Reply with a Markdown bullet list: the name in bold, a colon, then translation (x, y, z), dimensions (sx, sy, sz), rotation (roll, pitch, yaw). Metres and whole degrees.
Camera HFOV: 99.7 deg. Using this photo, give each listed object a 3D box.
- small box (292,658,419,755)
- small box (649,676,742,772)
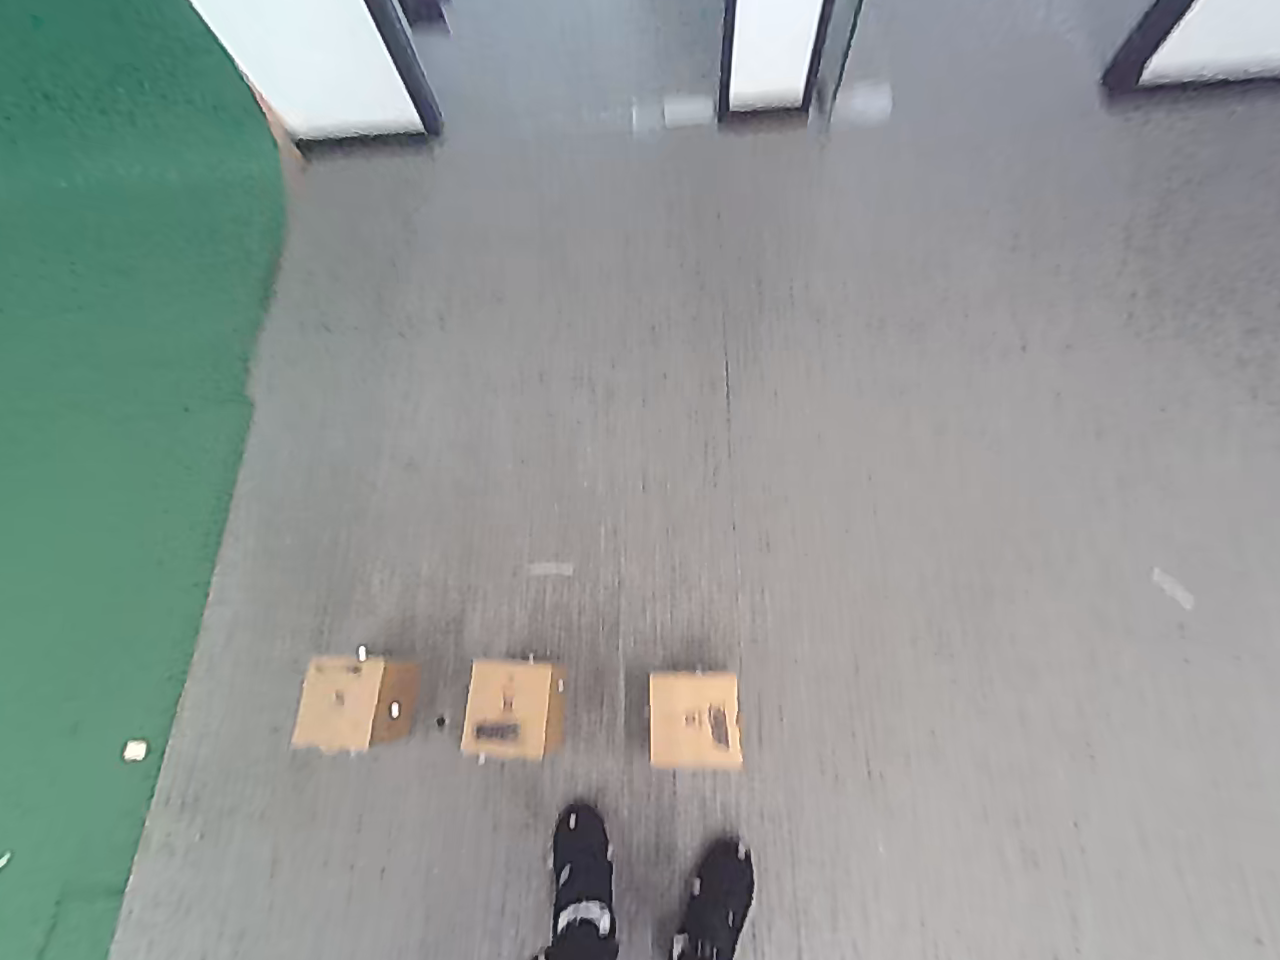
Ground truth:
- **small box**: translation (-0.605, 0.484, 1.175), dimensions (0.168, 0.176, 0.179), rotation (1, 71, 5)
- **small box**: translation (0.110, 0.492, 1.111), dimensions (0.179, 0.176, 0.168), rotation (-2, 70, 5)
